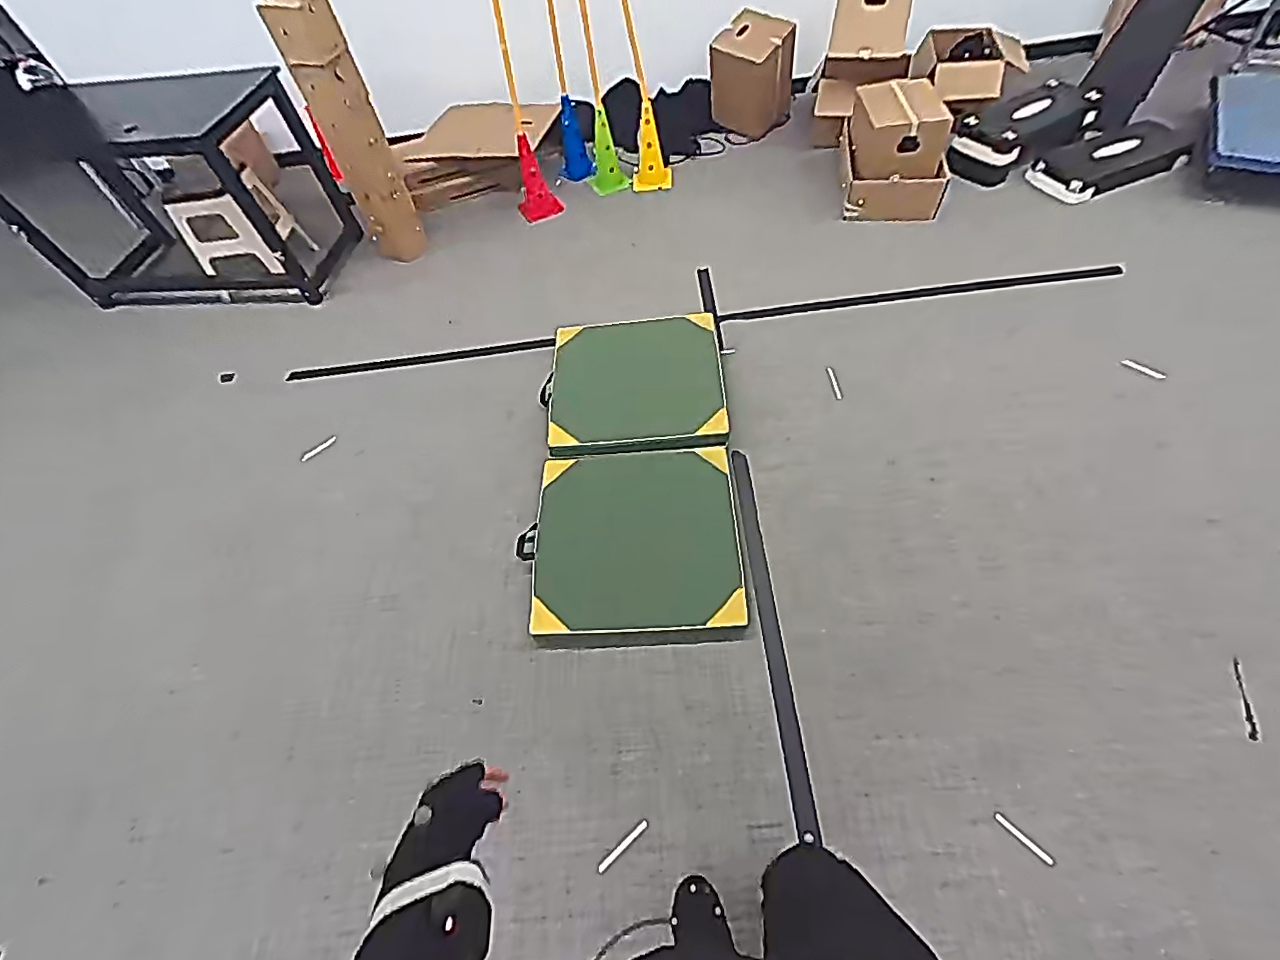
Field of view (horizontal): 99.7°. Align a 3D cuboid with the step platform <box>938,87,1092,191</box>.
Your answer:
[{"bbox_3d":[1.780,-1.626,2.567,0.684,0.204,0.286,-30,58,-13],"label":"step platform"}]
